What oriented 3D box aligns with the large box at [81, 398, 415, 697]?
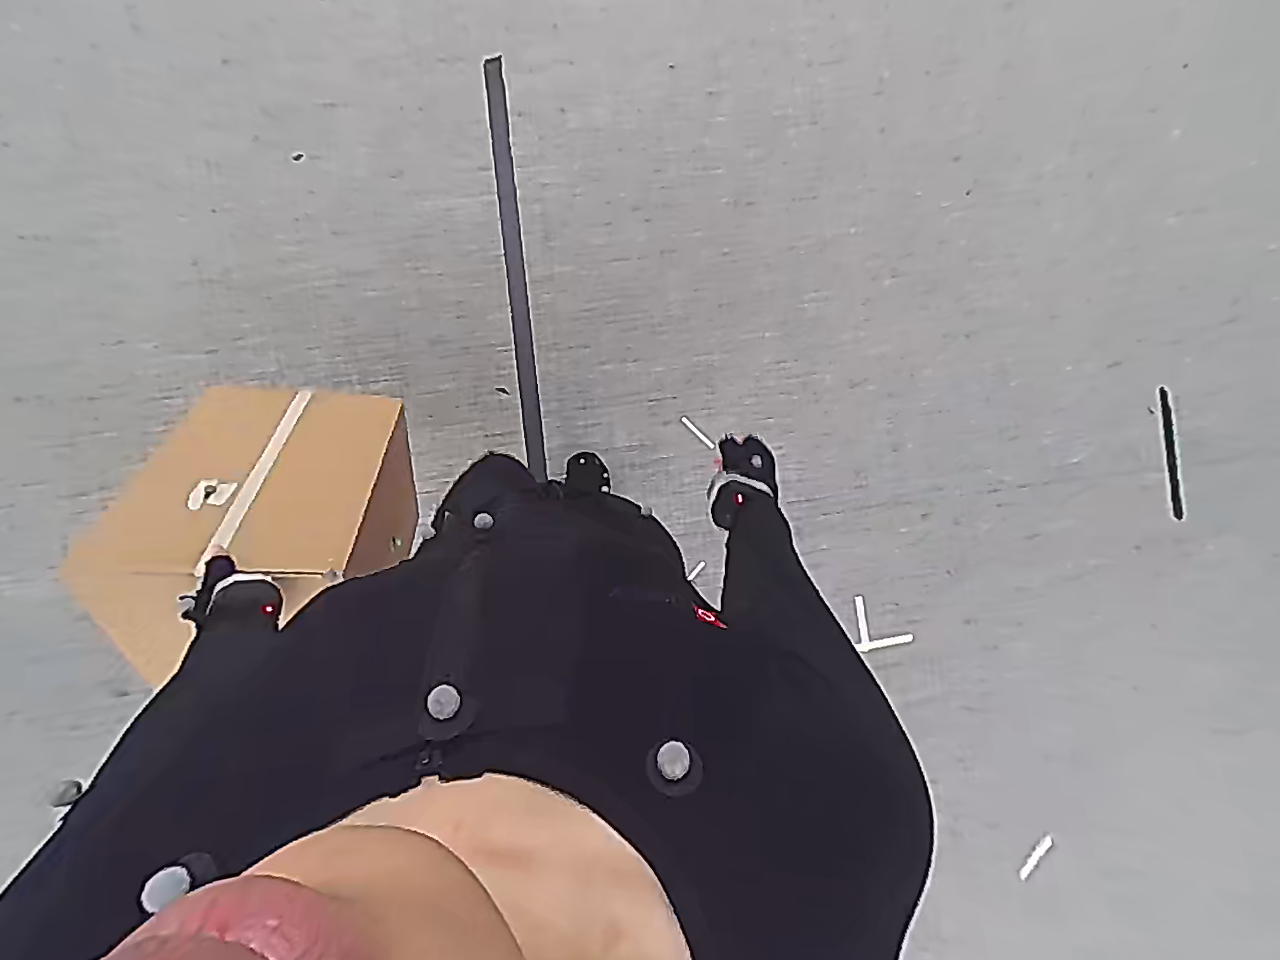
[{"bbox_3d":[-0.587,0.102,0.926,0.320,0.408,0.320,1,131,-12],"label":"large box"}]
